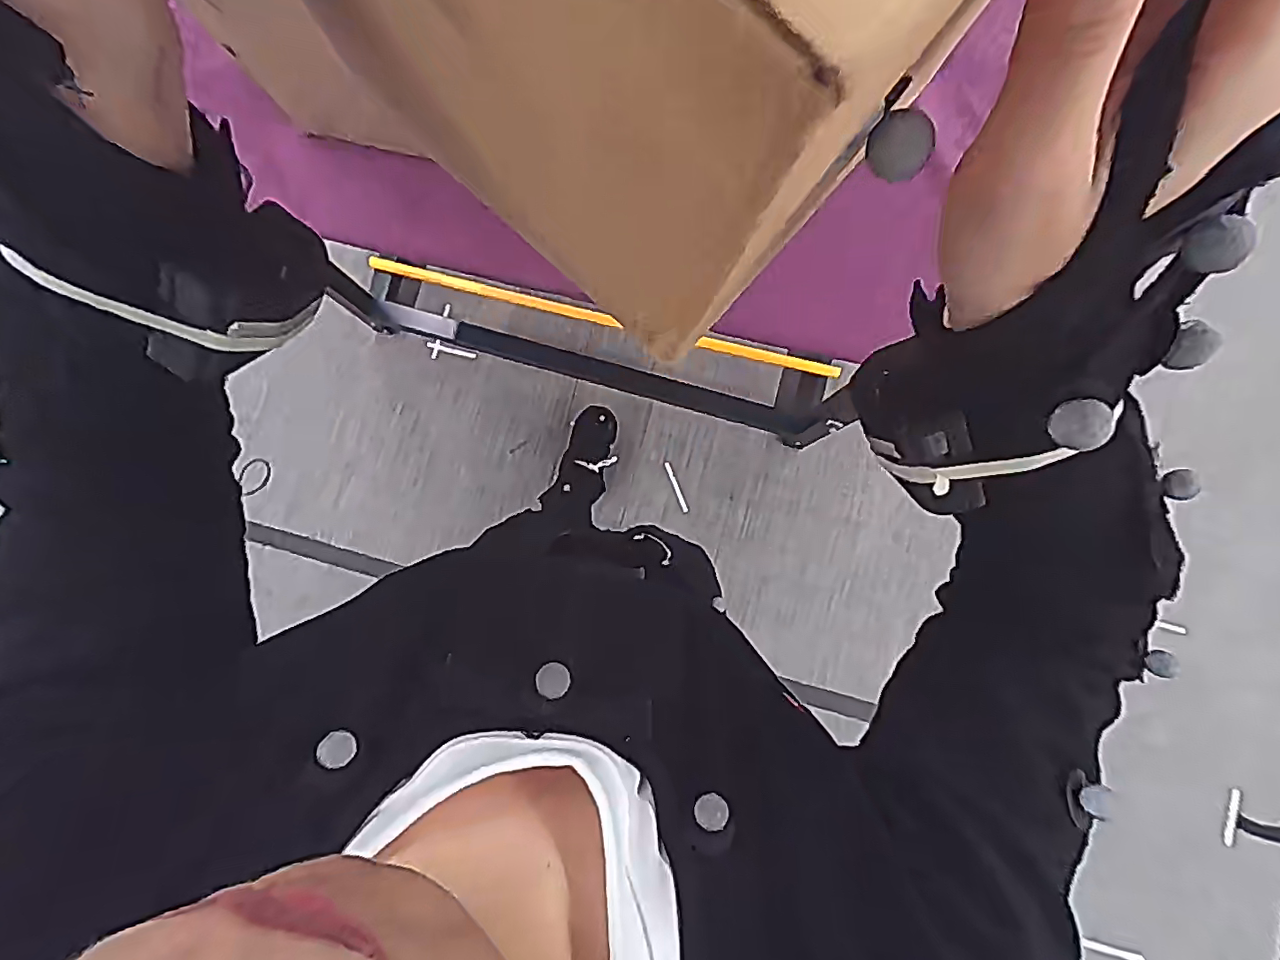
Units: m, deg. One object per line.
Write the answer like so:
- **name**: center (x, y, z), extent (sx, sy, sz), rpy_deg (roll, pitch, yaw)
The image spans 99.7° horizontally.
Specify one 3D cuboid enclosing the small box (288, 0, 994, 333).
- **small box**: center (0.005, -0.158, 0.134), extent (0.179, 0.176, 0.168), rpy_deg (41, 88, -2)
